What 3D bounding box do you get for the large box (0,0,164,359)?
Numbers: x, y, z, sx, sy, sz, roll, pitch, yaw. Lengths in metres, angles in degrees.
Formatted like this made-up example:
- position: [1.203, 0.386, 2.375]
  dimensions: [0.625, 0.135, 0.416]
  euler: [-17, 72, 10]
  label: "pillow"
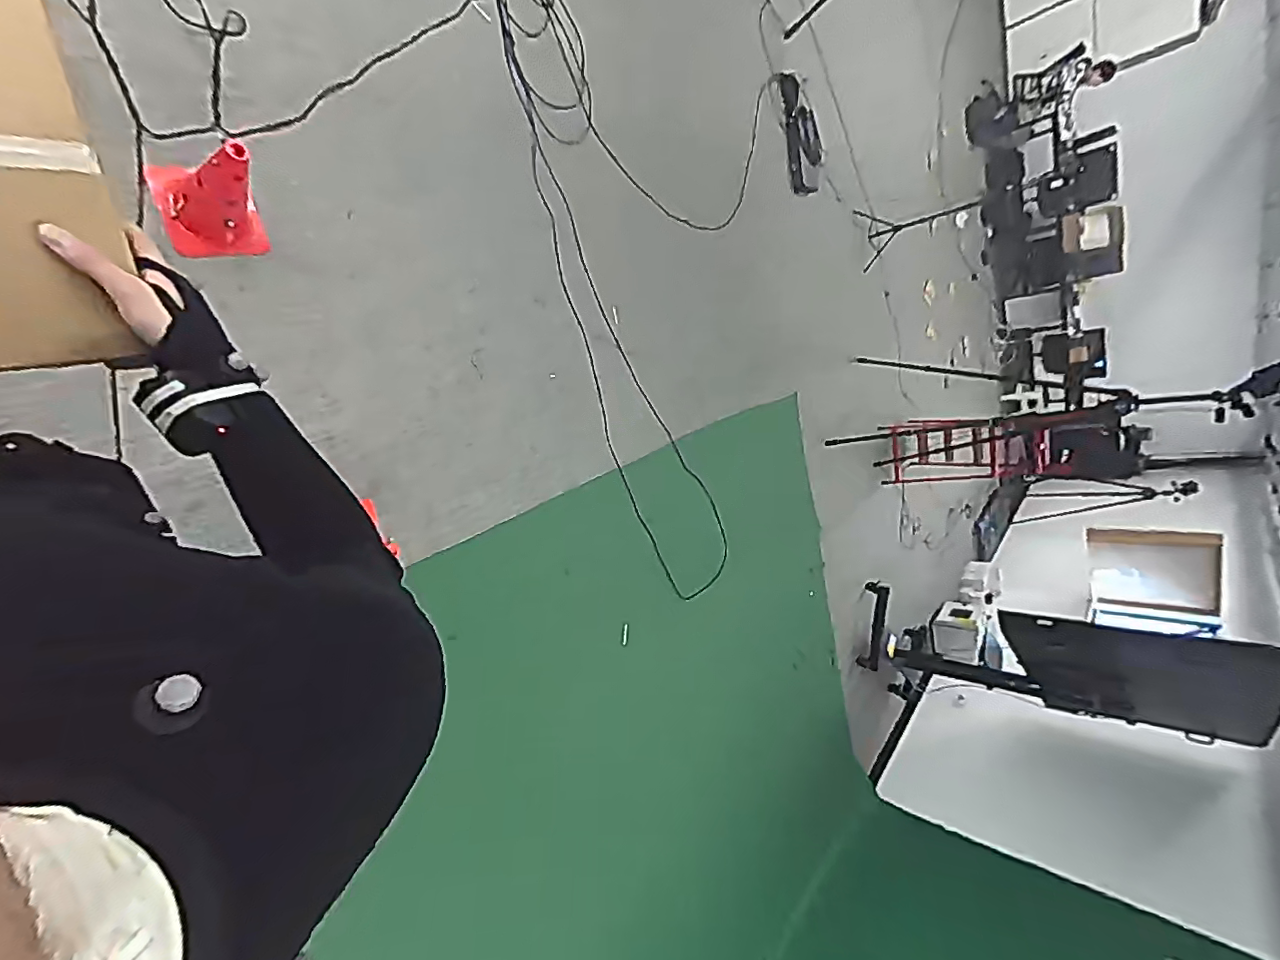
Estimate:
- position: [-0.692, -0.243, 0.412]
  dimensions: [0.408, 0.320, 0.320]
  euler: [-23, 118, -43]
  label: "large box"
